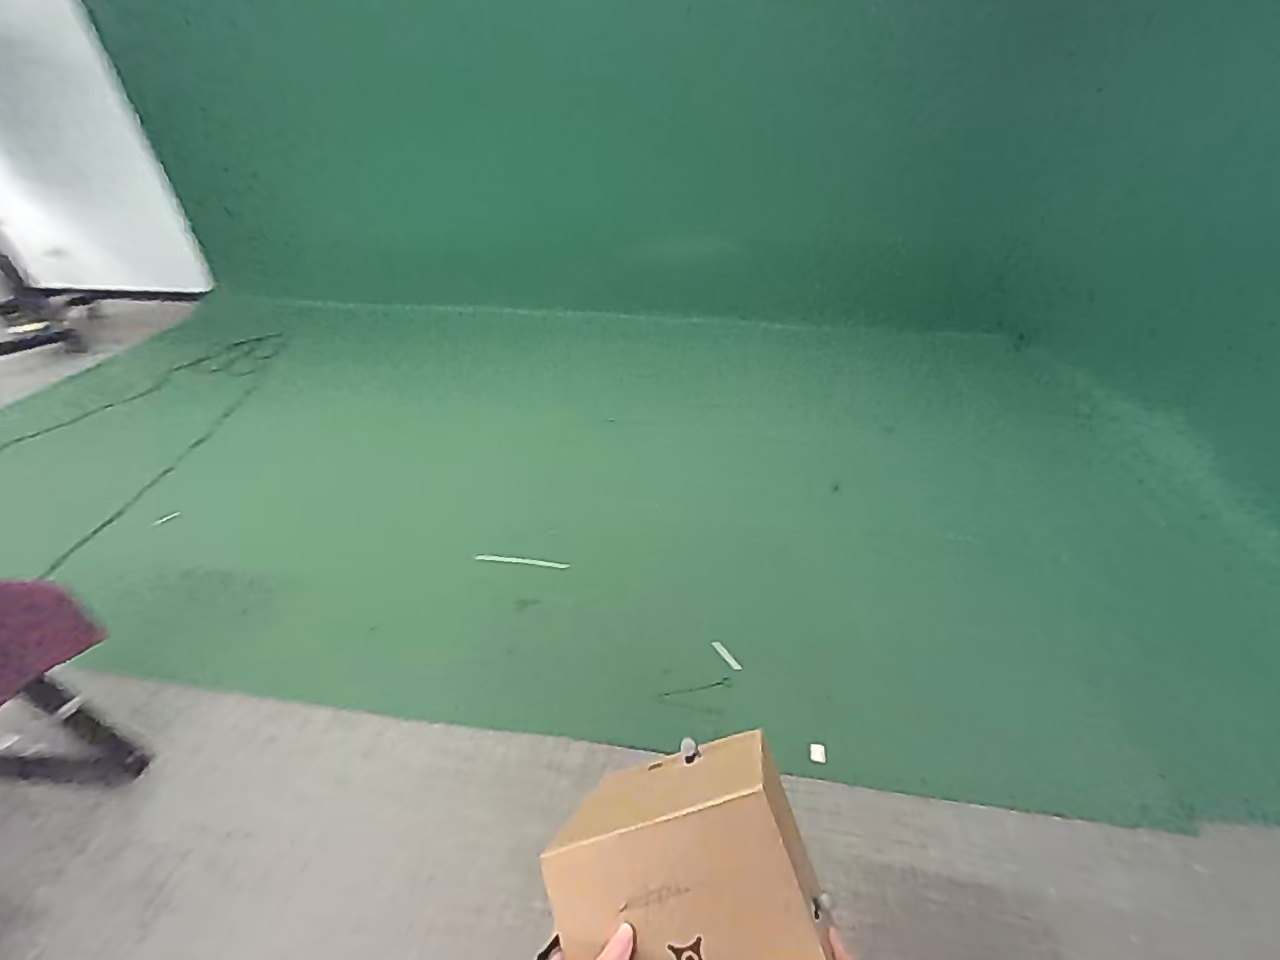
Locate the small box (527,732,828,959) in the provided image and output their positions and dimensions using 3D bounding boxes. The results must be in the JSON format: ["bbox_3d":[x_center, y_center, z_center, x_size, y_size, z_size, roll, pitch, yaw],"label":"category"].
[{"bbox_3d":[0.040,0.325,0.418,0.168,0.176,0.179,-22,75,7],"label":"small box"}]
